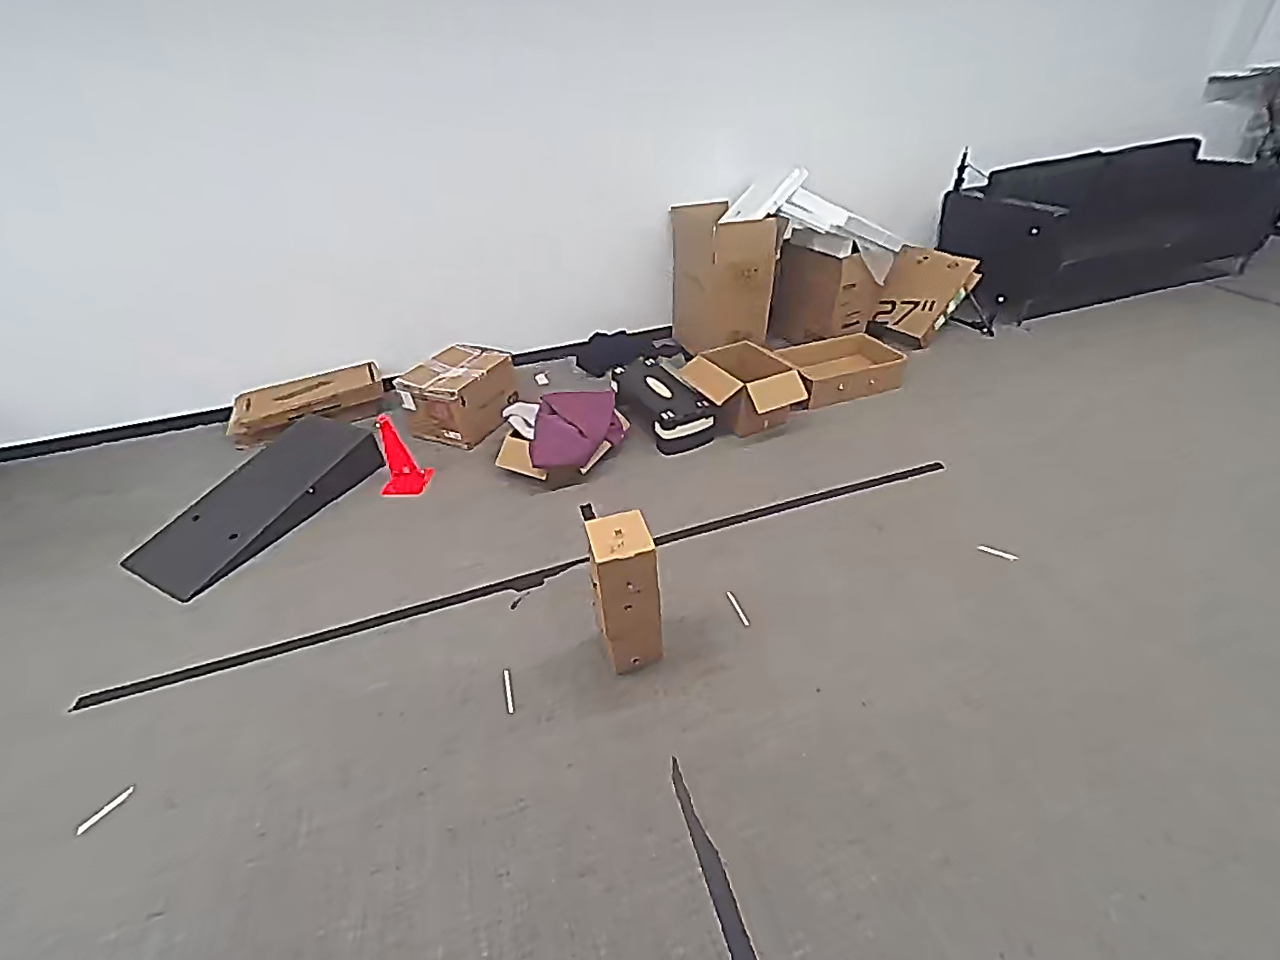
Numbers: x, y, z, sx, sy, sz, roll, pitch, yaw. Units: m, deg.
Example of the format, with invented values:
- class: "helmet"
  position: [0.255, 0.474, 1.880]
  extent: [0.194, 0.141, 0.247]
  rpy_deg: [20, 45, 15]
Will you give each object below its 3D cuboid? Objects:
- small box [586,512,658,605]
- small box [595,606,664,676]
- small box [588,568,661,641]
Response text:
- class: "small box"
  position: [-0.052, 0.222, 1.531]
  extent: [0.168, 0.176, 0.179]
  rpy_deg: [-13, 38, -10]
- class: "small box"
  position: [-0.033, 0.487, 1.726]
  extent: [0.168, 0.176, 0.179]
  rpy_deg: [-18, 40, -16]
- class: "small box"
  position: [-0.044, 0.356, 1.627]
  extent: [0.179, 0.176, 0.168]
  rpy_deg: [-14, 38, -13]
